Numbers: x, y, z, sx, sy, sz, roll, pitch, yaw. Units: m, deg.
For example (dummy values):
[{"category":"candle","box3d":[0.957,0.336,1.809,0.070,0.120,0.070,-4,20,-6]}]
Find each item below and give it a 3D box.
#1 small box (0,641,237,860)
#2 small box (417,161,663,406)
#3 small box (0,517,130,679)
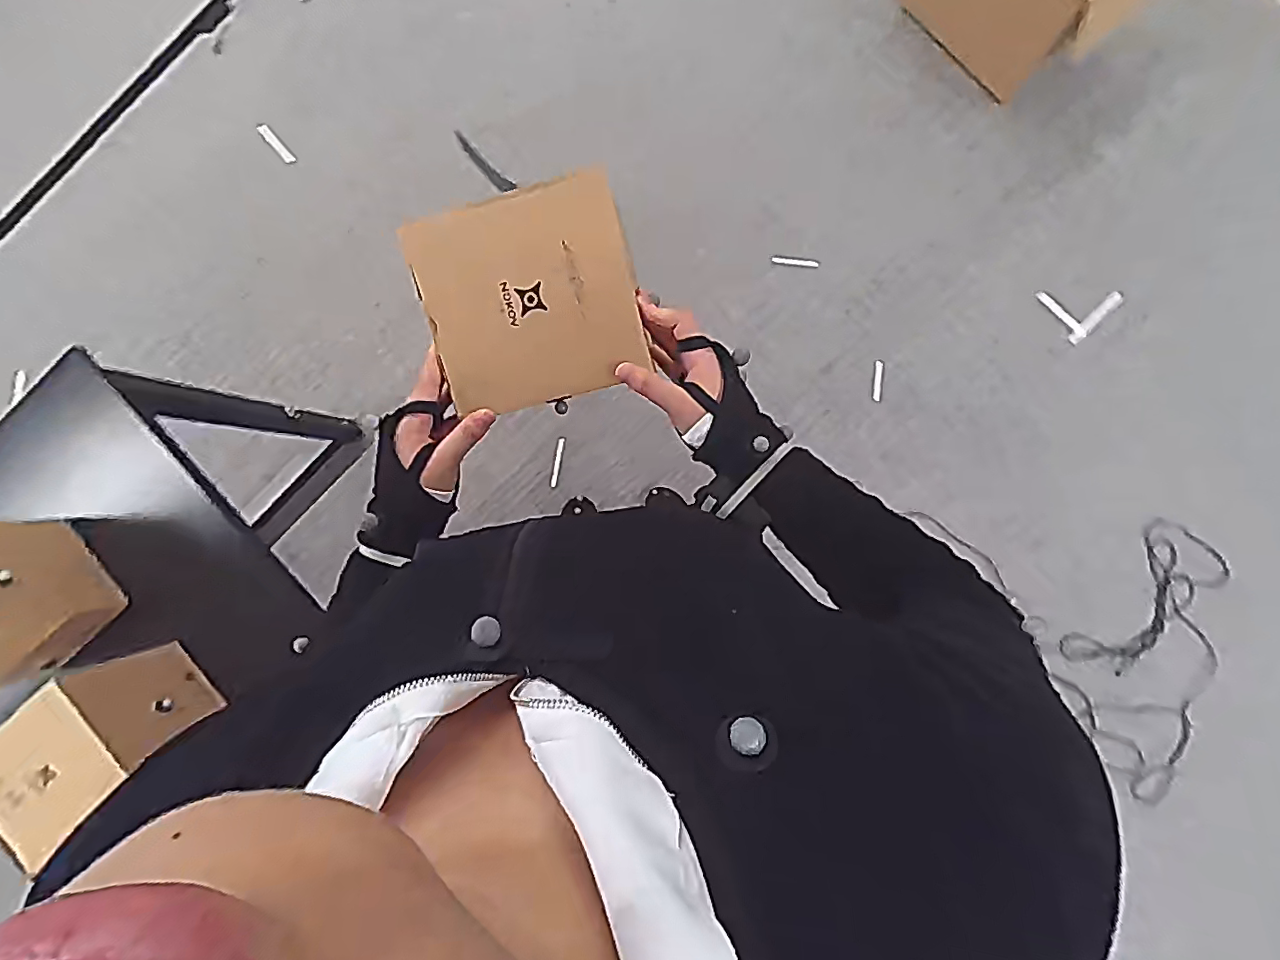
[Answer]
[{"category":"small box","box3d":[-0.707,0.350,0.741,0.179,0.176,0.168,-42,86,2]},{"category":"small box","box3d":[-0.078,-0.174,0.527,0.179,0.176,0.168,-12,102,6]},{"category":"small box","box3d":[-0.891,0.166,0.757,0.168,0.176,0.179,-41,86,2]}]
